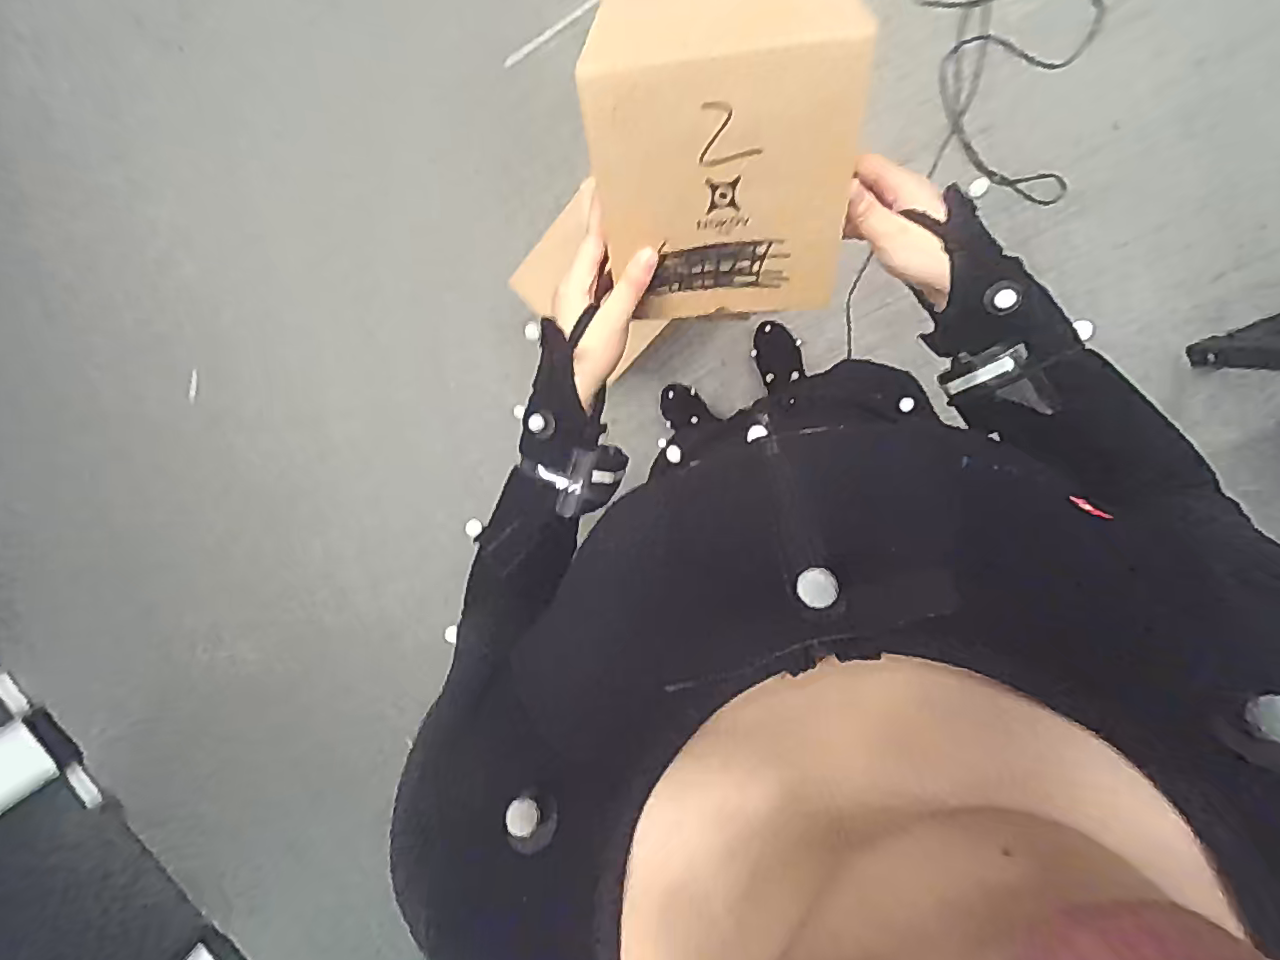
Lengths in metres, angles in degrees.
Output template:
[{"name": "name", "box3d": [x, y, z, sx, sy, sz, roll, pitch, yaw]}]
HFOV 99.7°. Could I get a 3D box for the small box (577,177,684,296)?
[{"name": "small box", "box3d": [-0.009, -0.441, 1.008, 0.168, 0.176, 0.179, -3, 106, 9]}]
